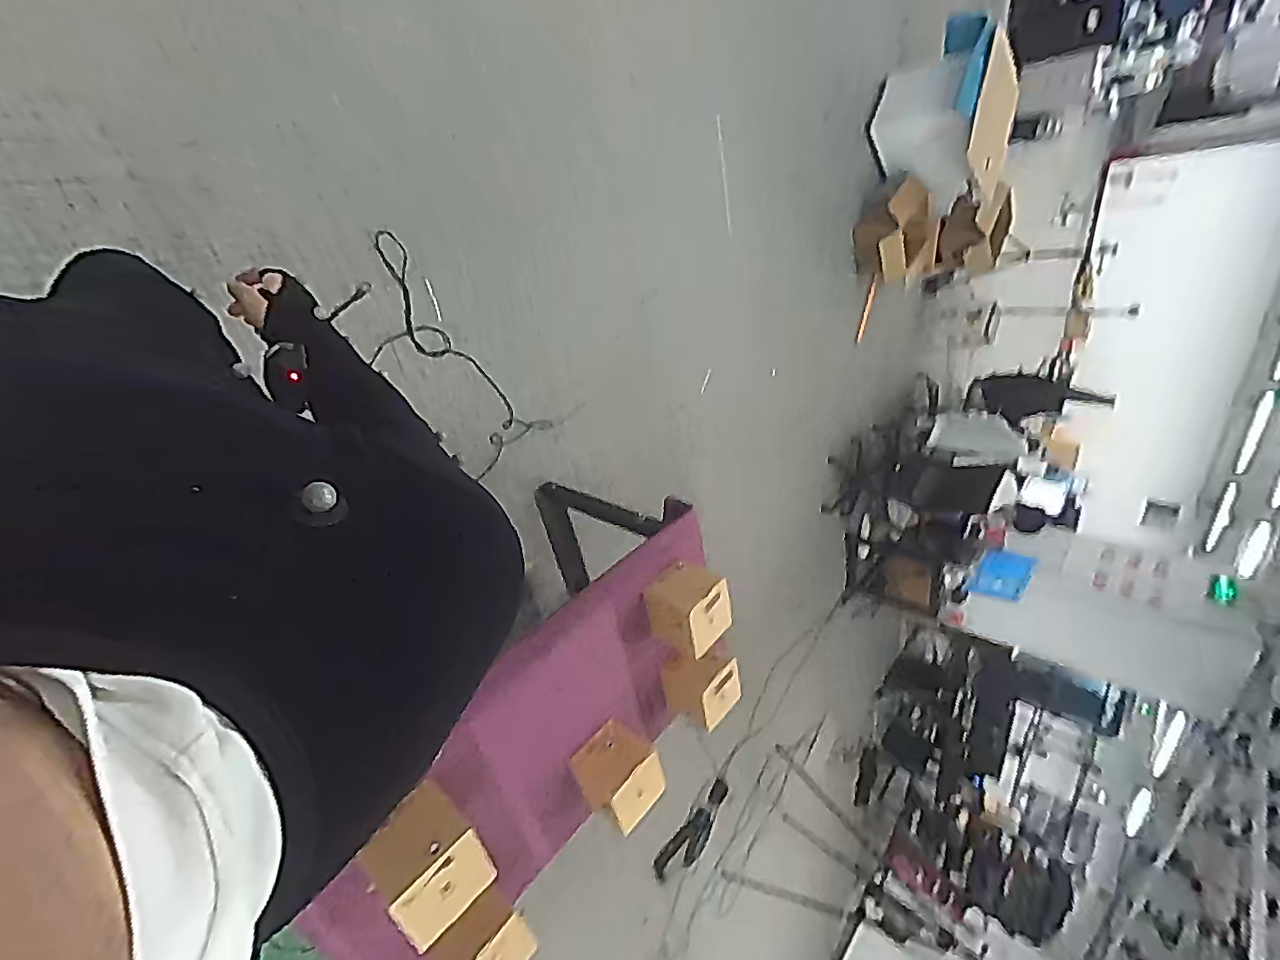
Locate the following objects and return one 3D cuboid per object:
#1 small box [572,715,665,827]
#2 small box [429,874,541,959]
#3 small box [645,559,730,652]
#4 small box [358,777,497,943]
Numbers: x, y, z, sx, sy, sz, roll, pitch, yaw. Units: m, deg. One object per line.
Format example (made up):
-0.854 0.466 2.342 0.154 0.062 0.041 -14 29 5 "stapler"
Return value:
-0.058 0.781 1.468 0.168 0.176 0.179 -35 125 -35 "small box"
-0.355 1.003 1.206 0.168 0.176 0.179 -38 128 -37 "small box"
0.132 0.341 1.526 0.168 0.176 0.179 -35 127 -35 "small box"
-0.411 0.728 1.054 0.168 0.176 0.179 -35 128 -37 "small box"
